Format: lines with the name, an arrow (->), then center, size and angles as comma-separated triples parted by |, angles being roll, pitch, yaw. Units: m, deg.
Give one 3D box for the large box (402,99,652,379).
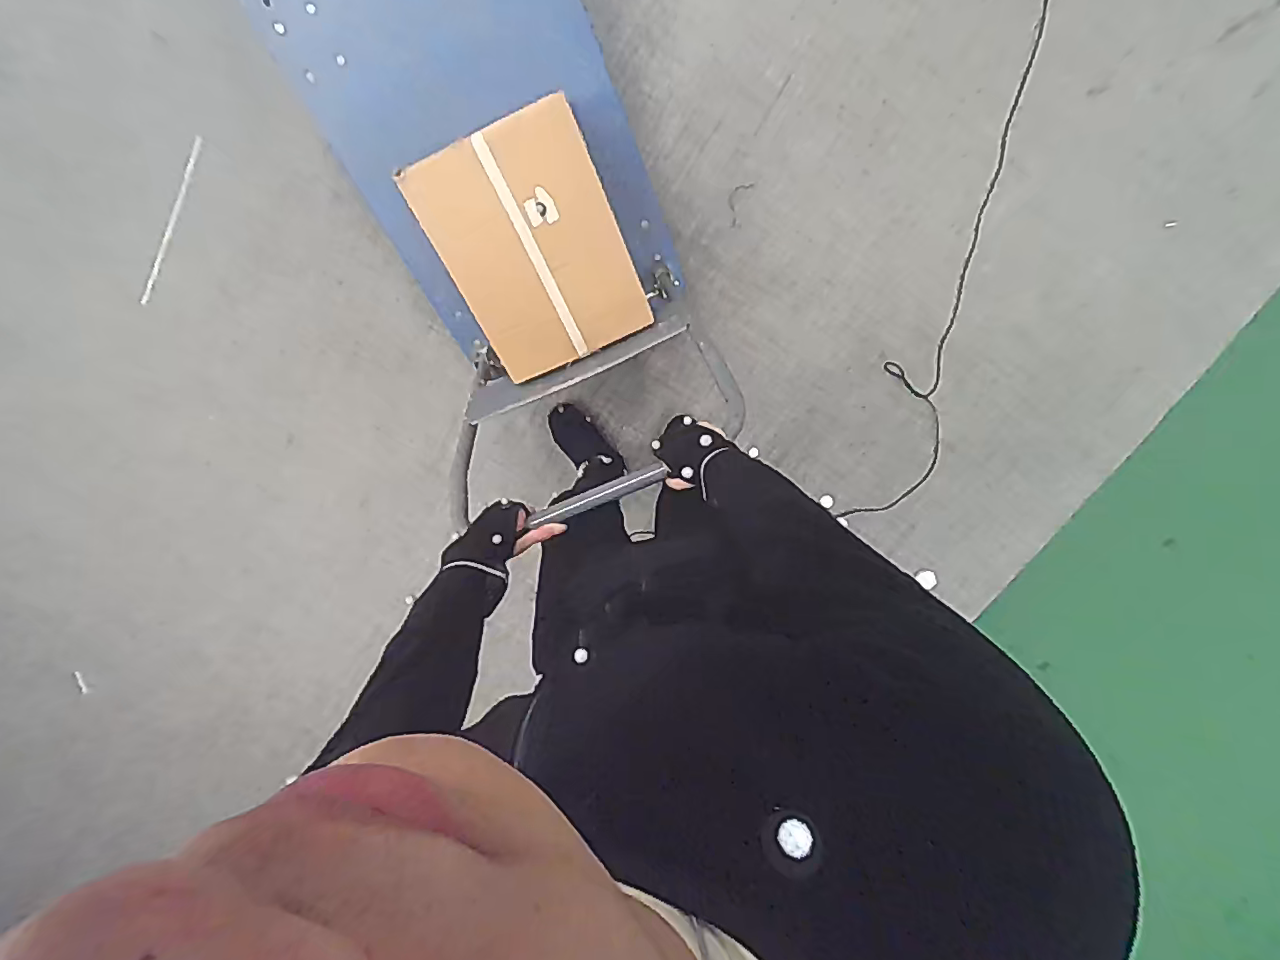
large box -> -0.200, -0.489, 1.120 | 0.320, 0.320, 0.408 | -22, 121, 7
